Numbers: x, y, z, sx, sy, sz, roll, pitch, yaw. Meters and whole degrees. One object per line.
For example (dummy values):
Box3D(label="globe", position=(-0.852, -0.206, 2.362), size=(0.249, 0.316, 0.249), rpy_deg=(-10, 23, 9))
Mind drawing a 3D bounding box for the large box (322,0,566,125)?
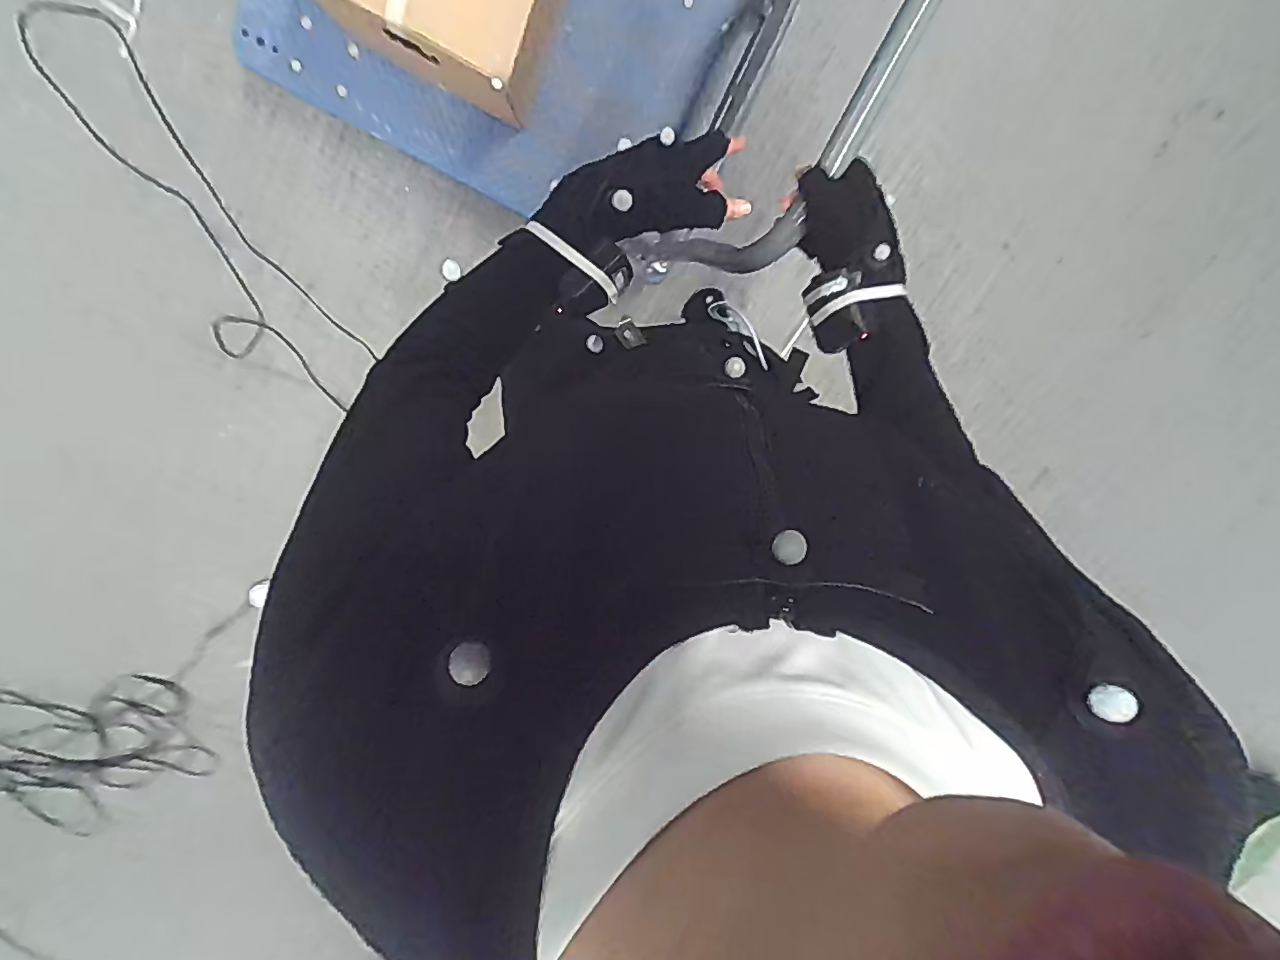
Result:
Box3D(label="large box", position=(-0.260, -0.841, 0.804), size=(0.320, 0.320, 0.408), rpy_deg=(22, 109, -14))
